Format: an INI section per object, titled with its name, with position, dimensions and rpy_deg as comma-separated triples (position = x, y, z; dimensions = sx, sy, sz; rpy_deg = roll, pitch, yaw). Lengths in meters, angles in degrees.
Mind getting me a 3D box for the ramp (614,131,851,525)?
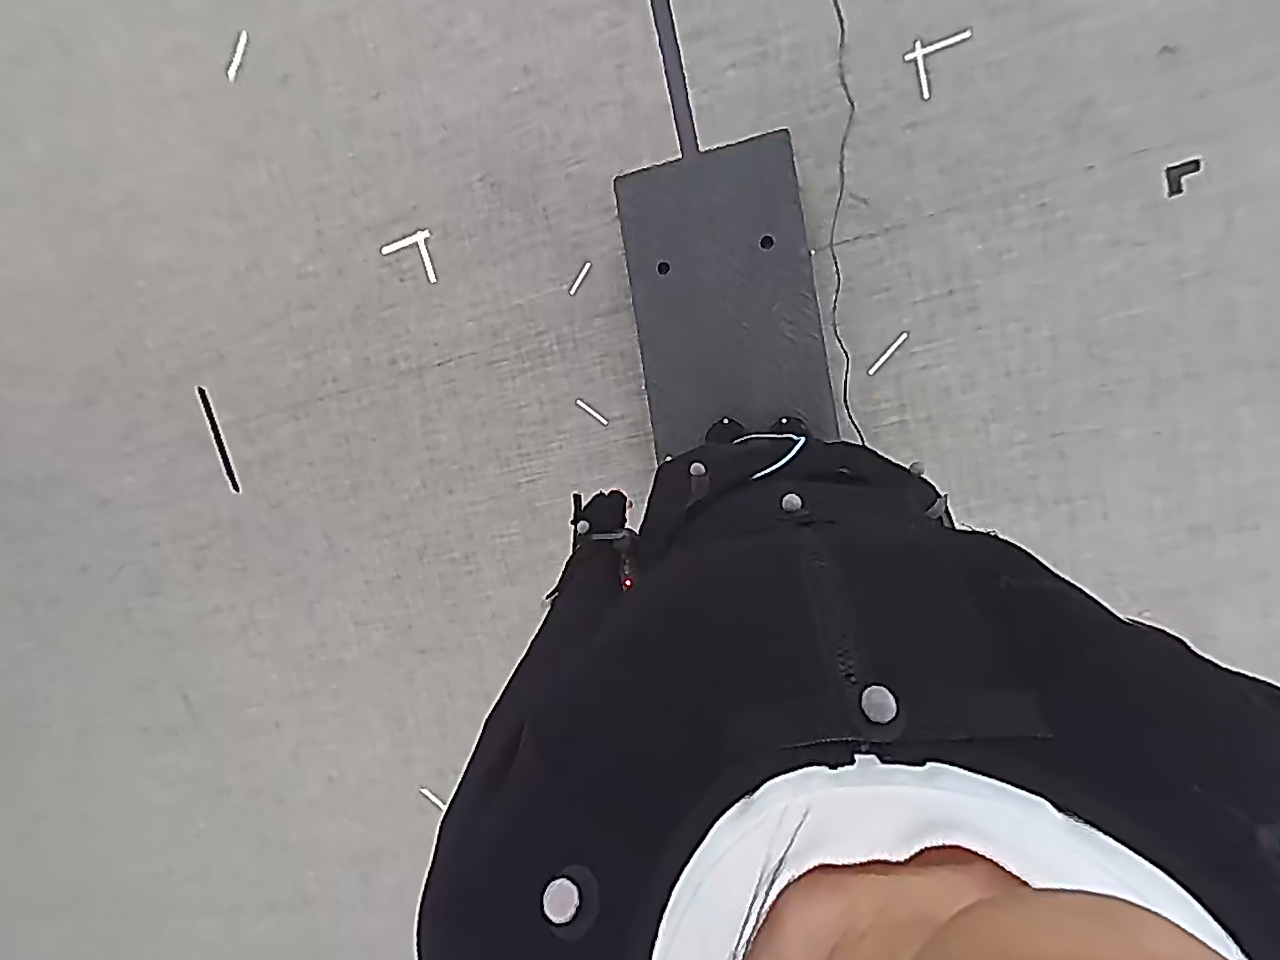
[ramp]
position = 0.233, -0.402, 1.472
dimensions = 0.509, 0.206, 0.991
rpy_deg = -11, 97, 14
